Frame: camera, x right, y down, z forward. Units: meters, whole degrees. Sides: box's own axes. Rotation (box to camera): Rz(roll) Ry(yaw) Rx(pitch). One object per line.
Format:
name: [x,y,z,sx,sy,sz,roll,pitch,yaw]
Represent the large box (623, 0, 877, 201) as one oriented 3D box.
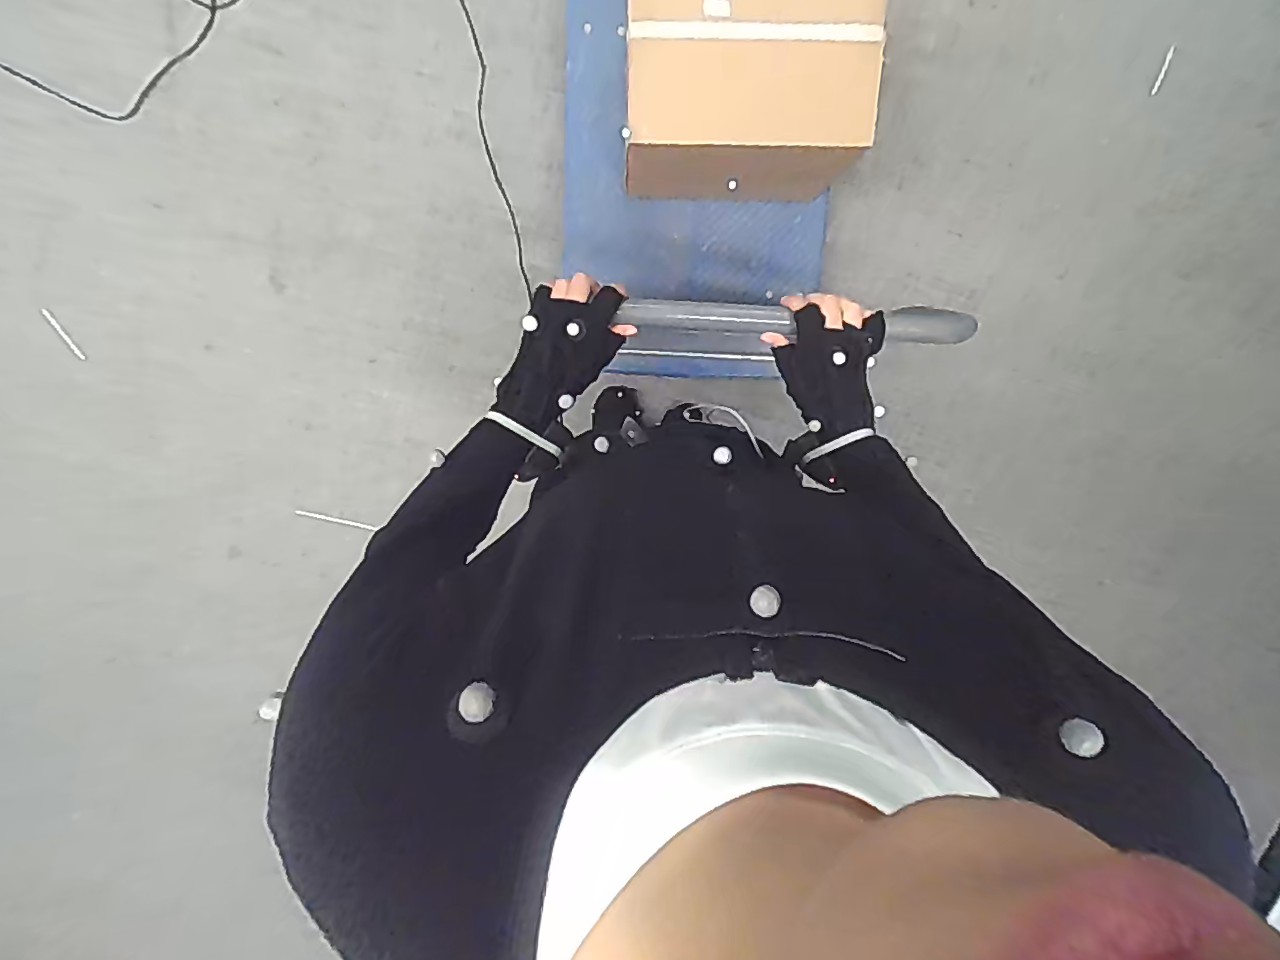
large box: [0.174,-0.723,1.000,0.408,0.320,0.320,1,101,-1]
